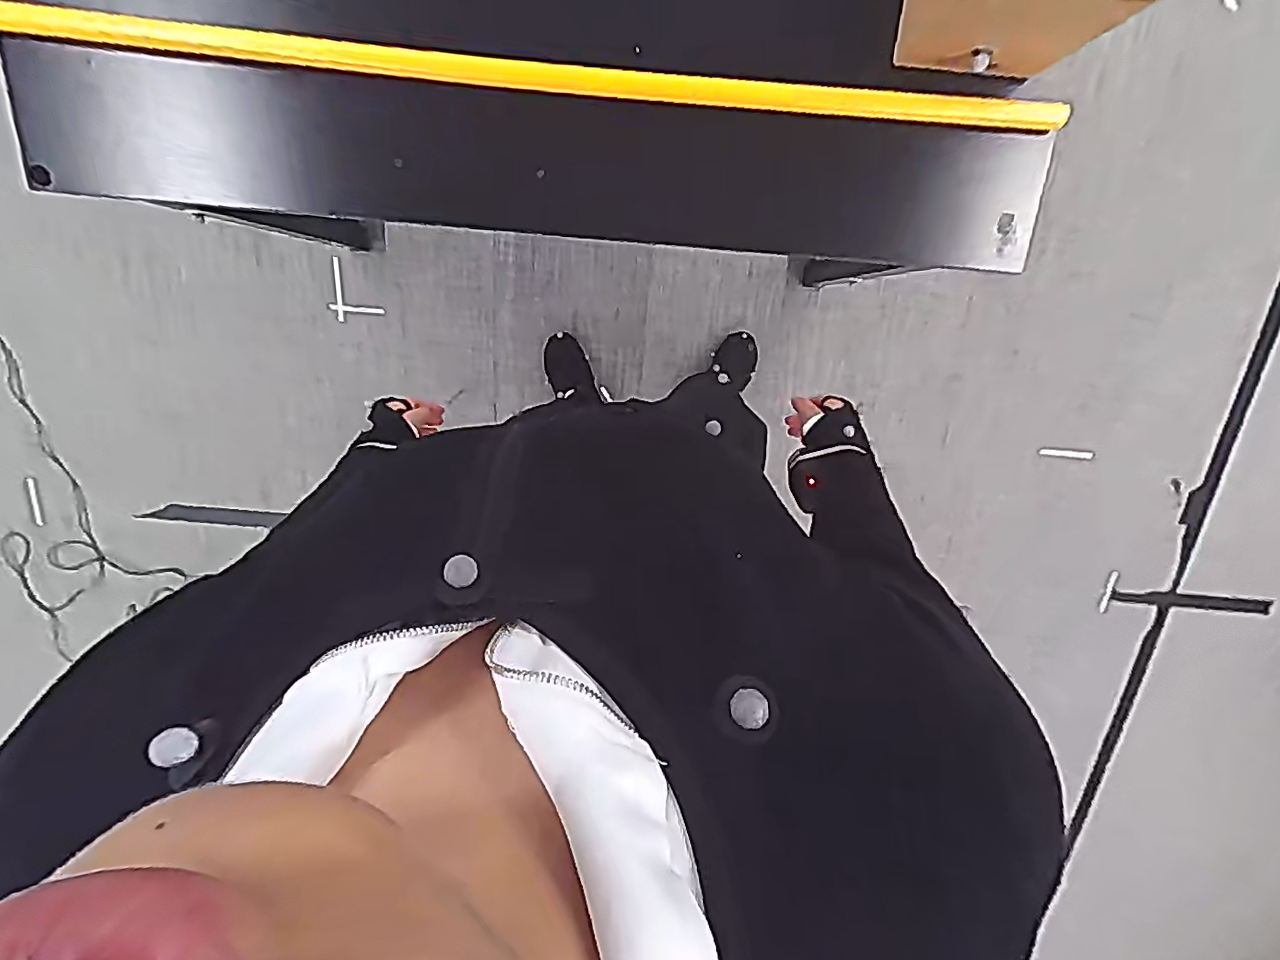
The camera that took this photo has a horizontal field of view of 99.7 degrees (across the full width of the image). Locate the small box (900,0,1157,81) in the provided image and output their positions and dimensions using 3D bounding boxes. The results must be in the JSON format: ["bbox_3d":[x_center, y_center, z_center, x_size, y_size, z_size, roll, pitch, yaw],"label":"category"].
[{"bbox_3d":[0.380,-0.530,0.522,0.168,0.176,0.179,5,107,-2],"label":"small box"}]
